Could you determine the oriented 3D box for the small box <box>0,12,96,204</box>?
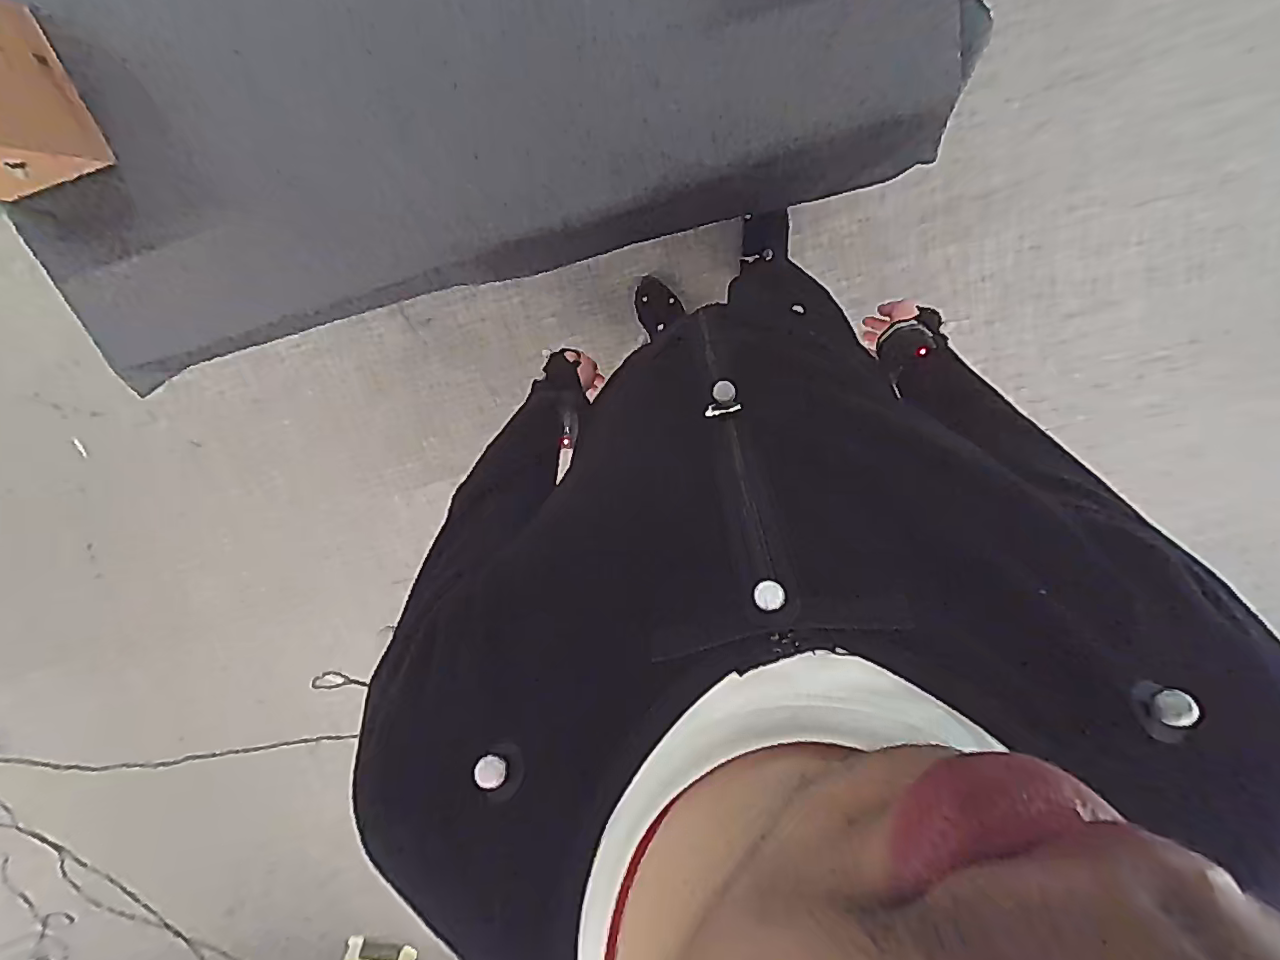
[{"bbox_3d":[-0.772,-0.418,0.595,0.179,0.176,0.168,-11,111,8],"label":"small box"}]
